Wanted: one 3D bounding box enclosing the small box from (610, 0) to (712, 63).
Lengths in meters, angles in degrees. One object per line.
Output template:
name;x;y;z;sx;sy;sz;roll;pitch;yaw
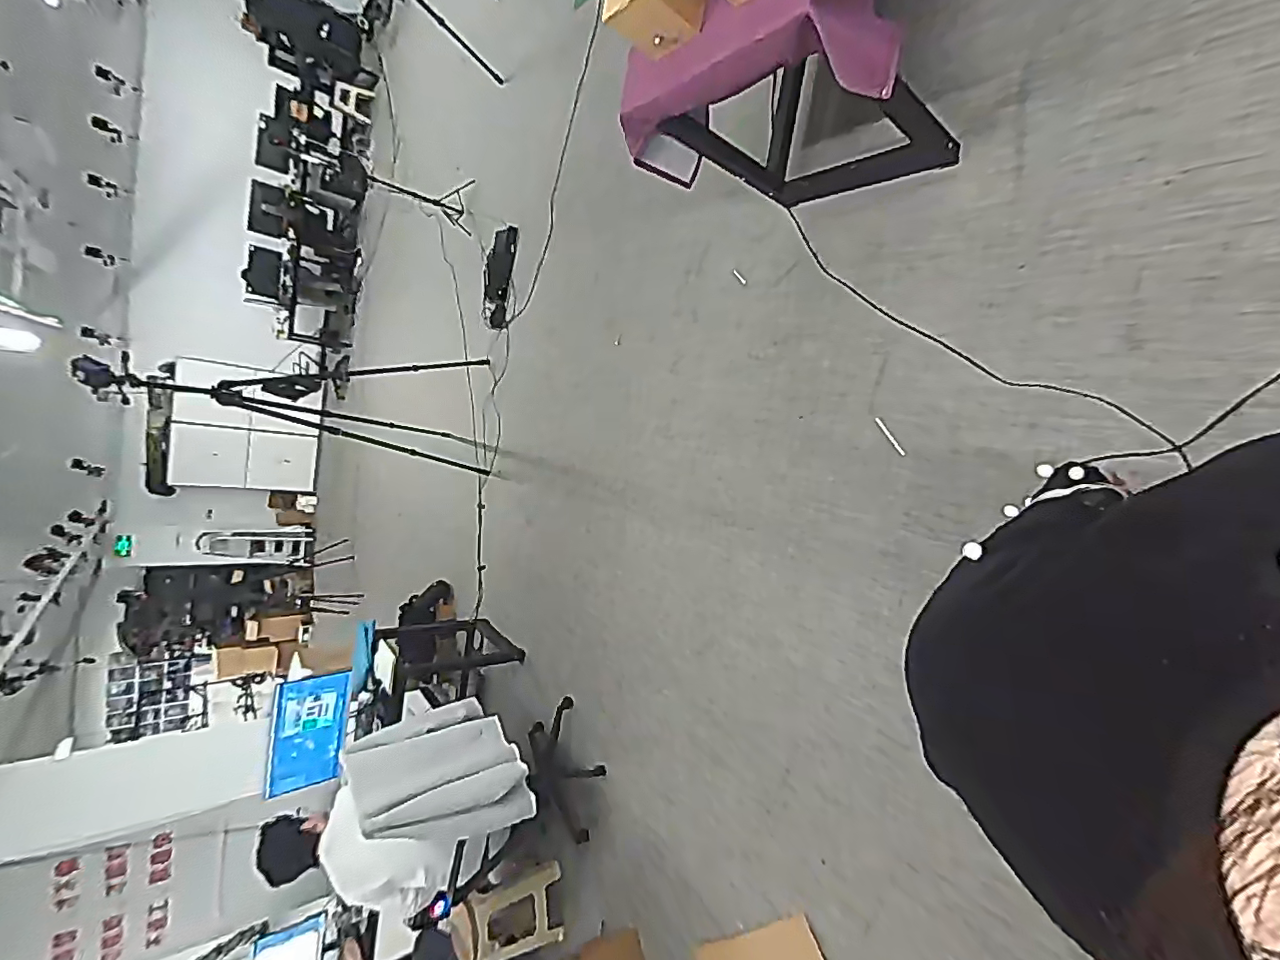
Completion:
small box;0.057;-1.127;1.250;0.168;0.176;0.179;19;100;51
